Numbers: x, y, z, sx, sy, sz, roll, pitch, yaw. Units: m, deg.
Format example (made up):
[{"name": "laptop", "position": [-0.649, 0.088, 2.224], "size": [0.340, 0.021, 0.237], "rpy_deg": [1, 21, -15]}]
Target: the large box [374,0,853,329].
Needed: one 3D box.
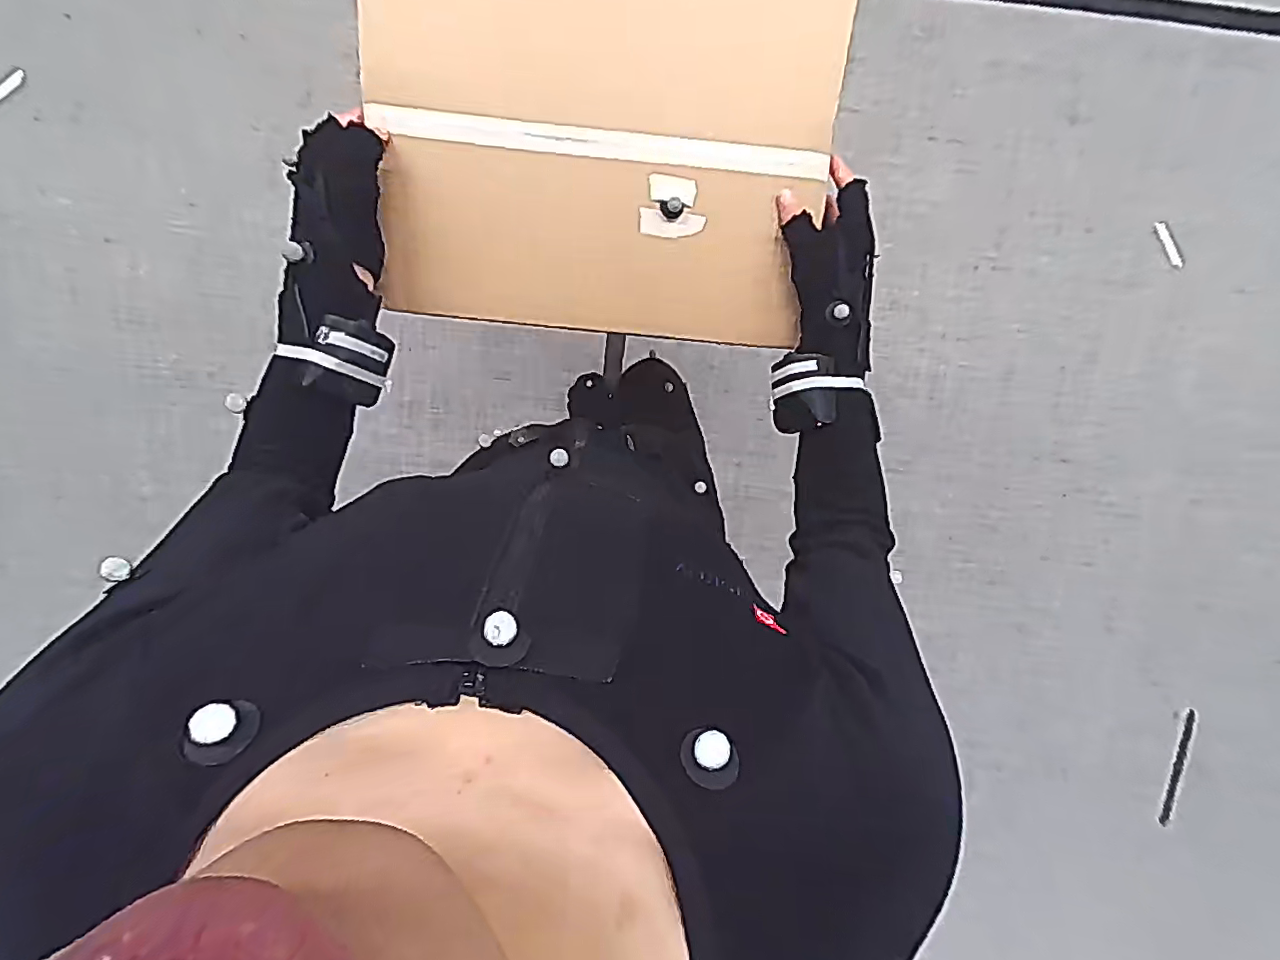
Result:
[{"name": "large box", "position": [-0.035, -0.347, 0.619], "size": [0.408, 0.320, 0.320], "rpy_deg": [4, 107, -4]}]
